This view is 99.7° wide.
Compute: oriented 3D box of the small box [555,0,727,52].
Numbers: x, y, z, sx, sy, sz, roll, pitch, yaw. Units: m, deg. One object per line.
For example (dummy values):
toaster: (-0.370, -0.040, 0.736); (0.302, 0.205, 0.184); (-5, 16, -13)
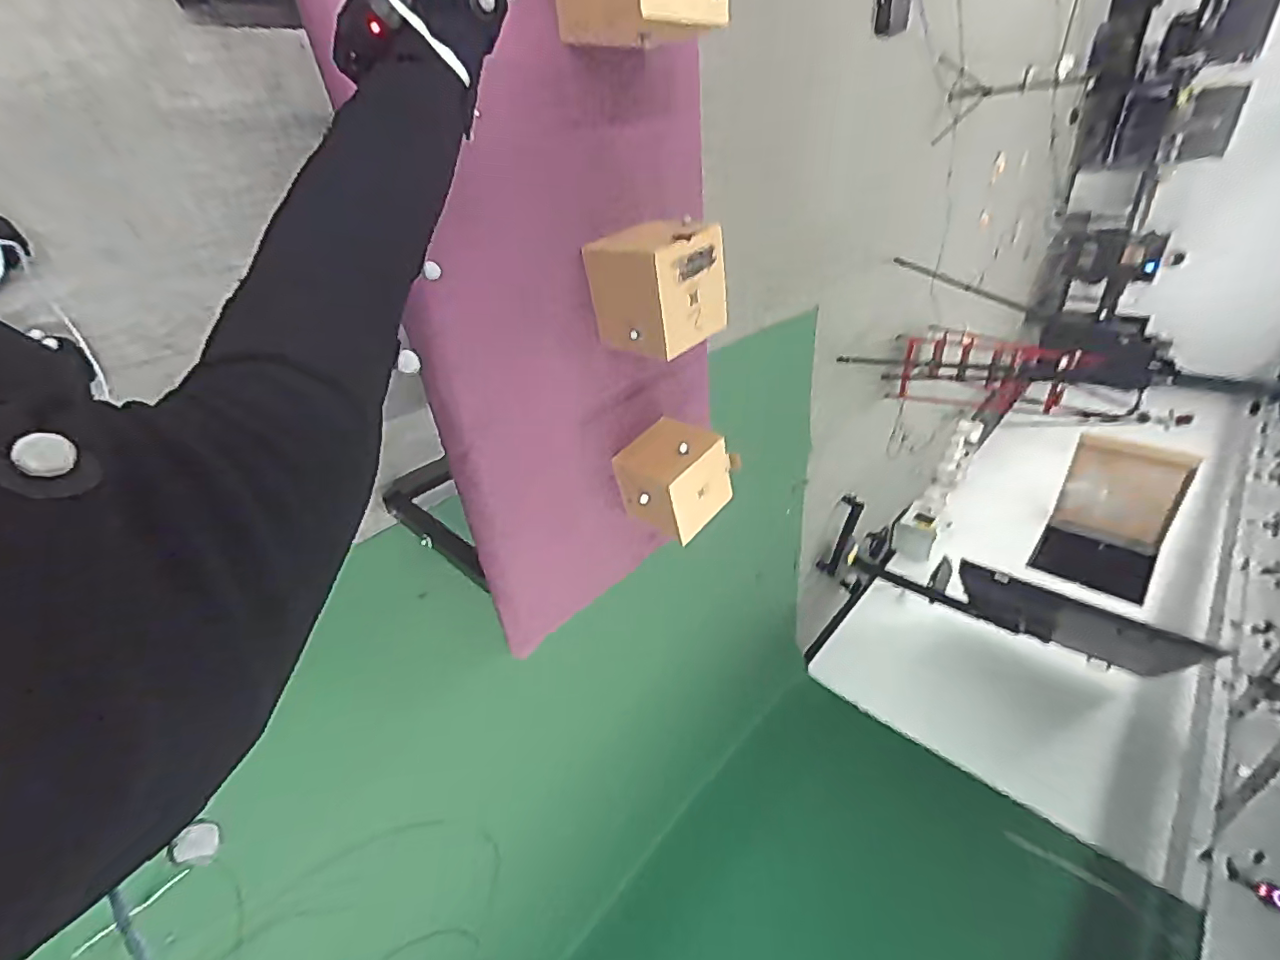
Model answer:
small box: (-0.001, -0.690, 0.720); (0.179, 0.176, 0.168); (-29, 129, -35)

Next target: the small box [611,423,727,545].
small box: (0.057, 0.002, 1.145); (0.179, 0.176, 0.168); (-41, 135, -29)
